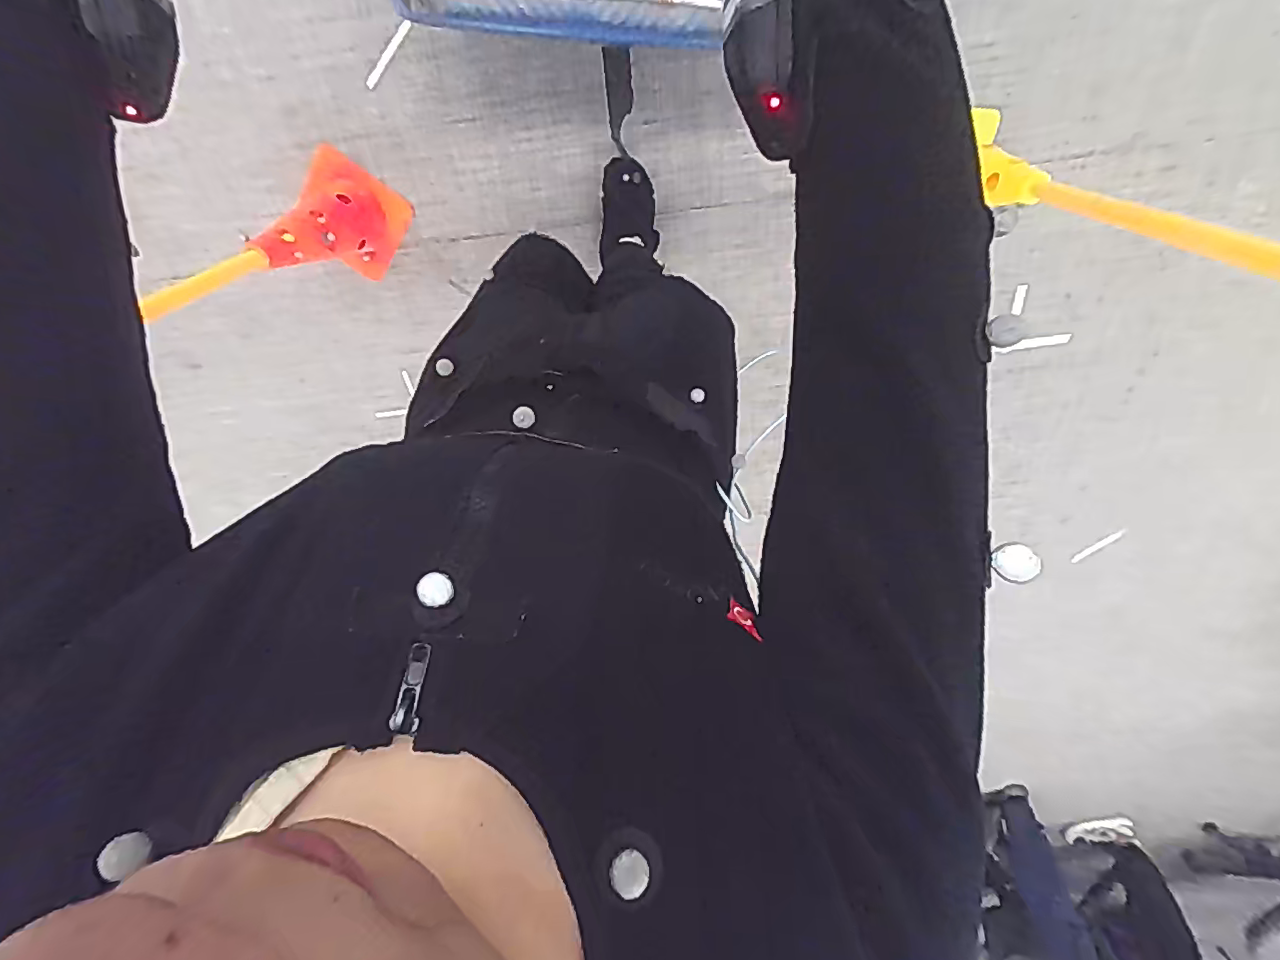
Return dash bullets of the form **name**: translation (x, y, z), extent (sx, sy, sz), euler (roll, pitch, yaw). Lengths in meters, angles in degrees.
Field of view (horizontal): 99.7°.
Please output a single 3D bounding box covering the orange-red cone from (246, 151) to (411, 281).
- **orange-red cone**: translation (-0.603, -0.448, 0.991), extent (0.198, 0.360, 0.199), euler (33, 118, -22)
